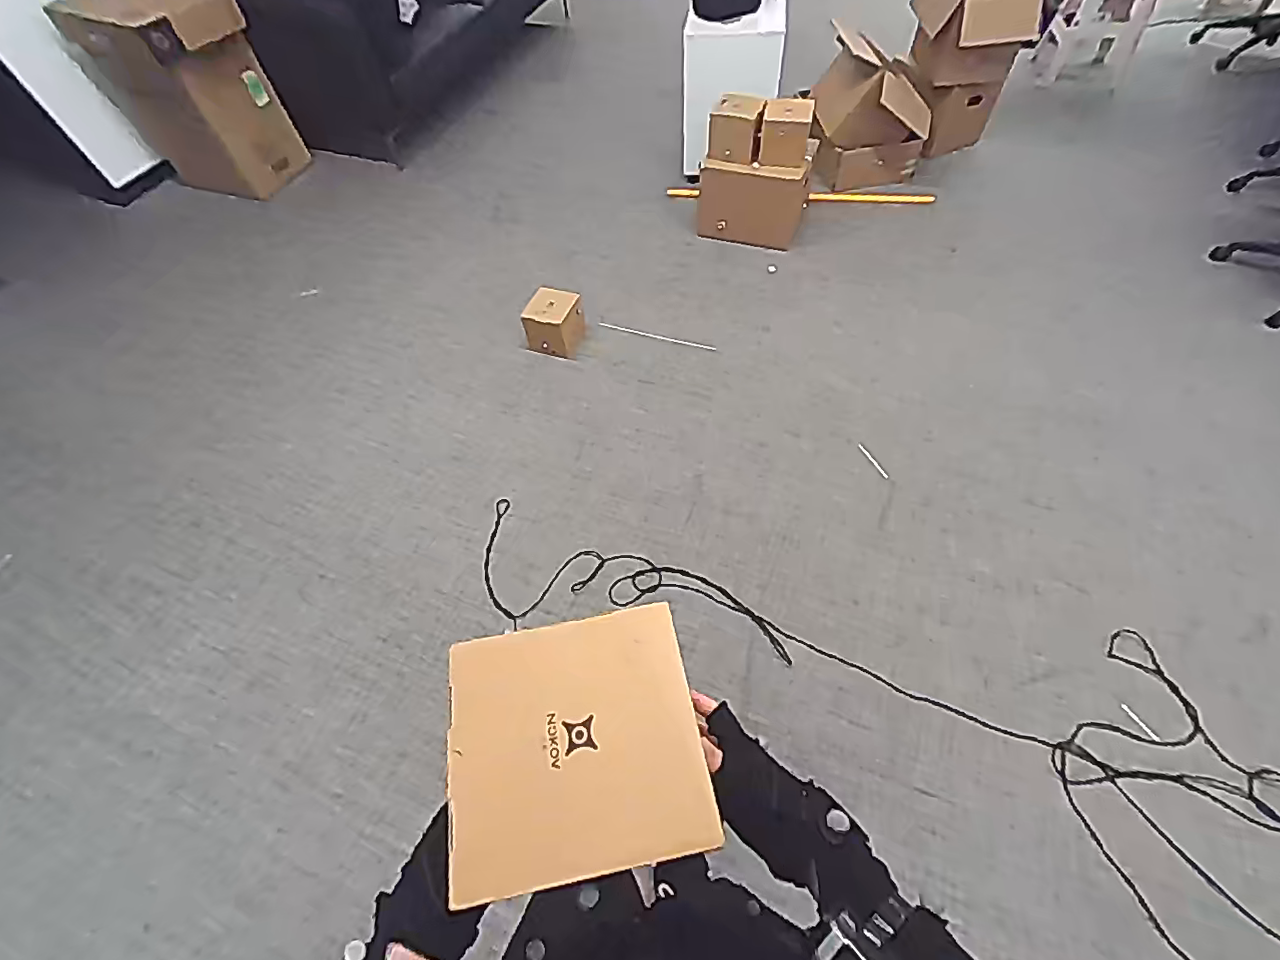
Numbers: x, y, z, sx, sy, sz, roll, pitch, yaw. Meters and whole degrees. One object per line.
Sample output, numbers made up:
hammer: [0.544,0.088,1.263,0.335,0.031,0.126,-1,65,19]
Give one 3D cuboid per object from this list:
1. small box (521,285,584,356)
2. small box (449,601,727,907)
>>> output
small box: [-0.319,-0.598,2.028,0.168,0.176,0.179,16,60,14]
small box: [-0.041,0.217,0.440,0.179,0.176,0.168,-11,57,-3]
